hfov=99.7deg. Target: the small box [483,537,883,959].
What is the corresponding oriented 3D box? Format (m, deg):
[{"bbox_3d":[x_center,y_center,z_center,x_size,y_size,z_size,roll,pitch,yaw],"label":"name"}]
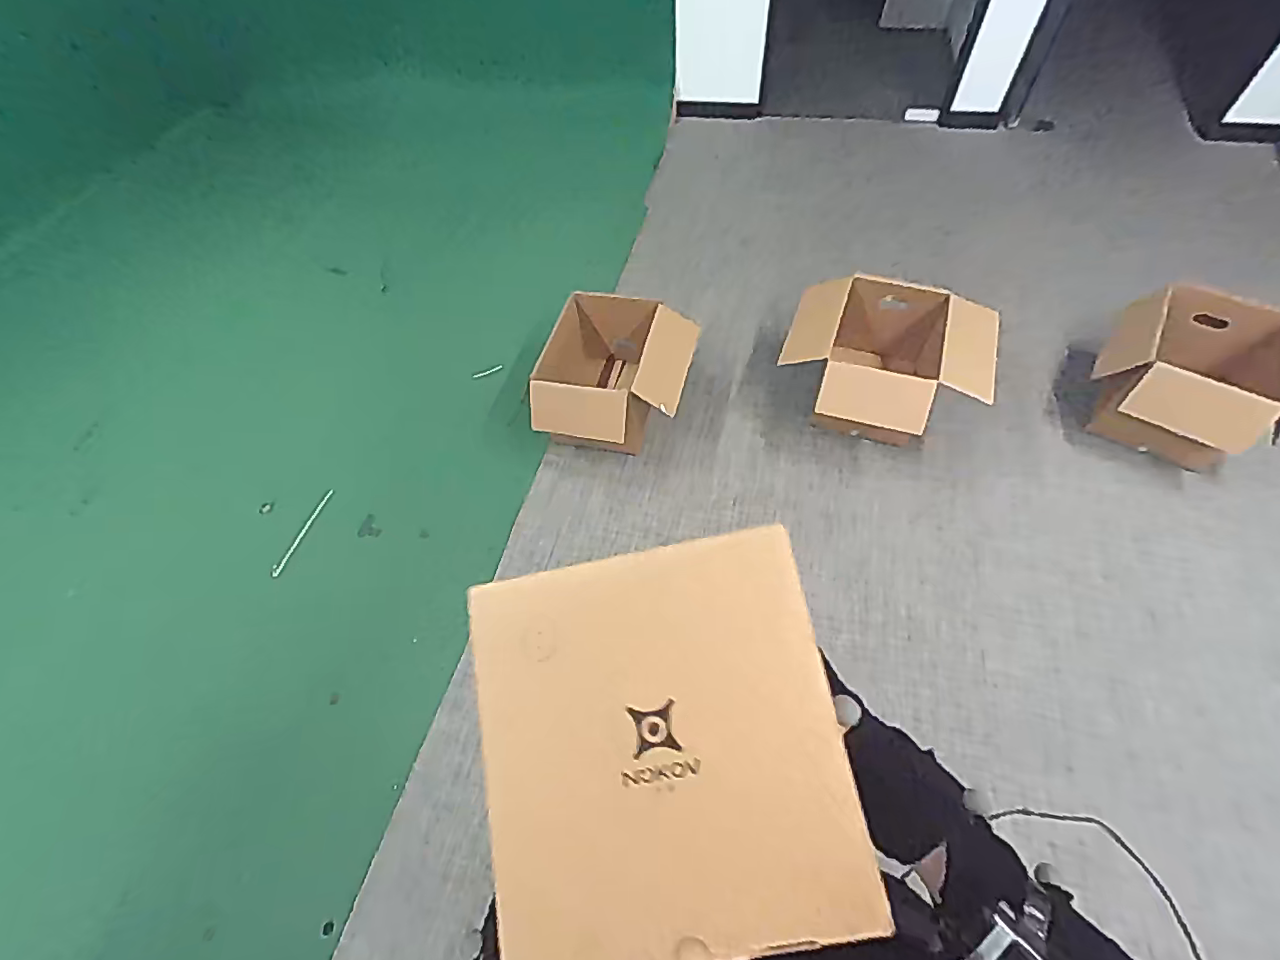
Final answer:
[{"bbox_3d":[0.018,0.145,0.333,0.168,0.176,0.179,-12,75,3],"label":"small box"}]
